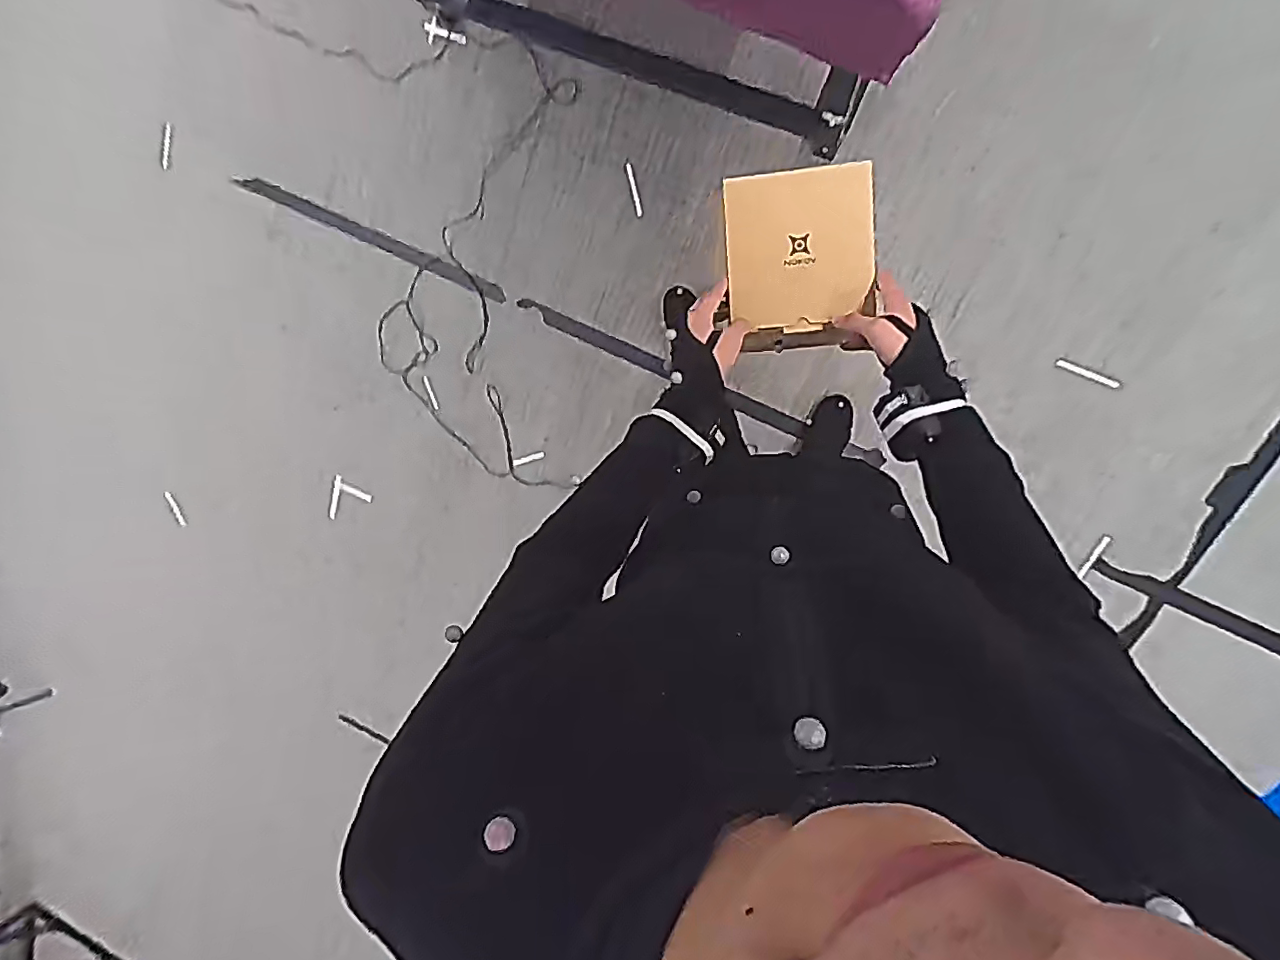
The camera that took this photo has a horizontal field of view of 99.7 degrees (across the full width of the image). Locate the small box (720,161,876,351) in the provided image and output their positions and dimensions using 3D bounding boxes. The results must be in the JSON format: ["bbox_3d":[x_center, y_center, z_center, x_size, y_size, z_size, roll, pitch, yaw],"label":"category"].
[{"bbox_3d":[0.191,-0.271,0.693,0.168,0.176,0.179,-3,95,7],"label":"small box"}]
